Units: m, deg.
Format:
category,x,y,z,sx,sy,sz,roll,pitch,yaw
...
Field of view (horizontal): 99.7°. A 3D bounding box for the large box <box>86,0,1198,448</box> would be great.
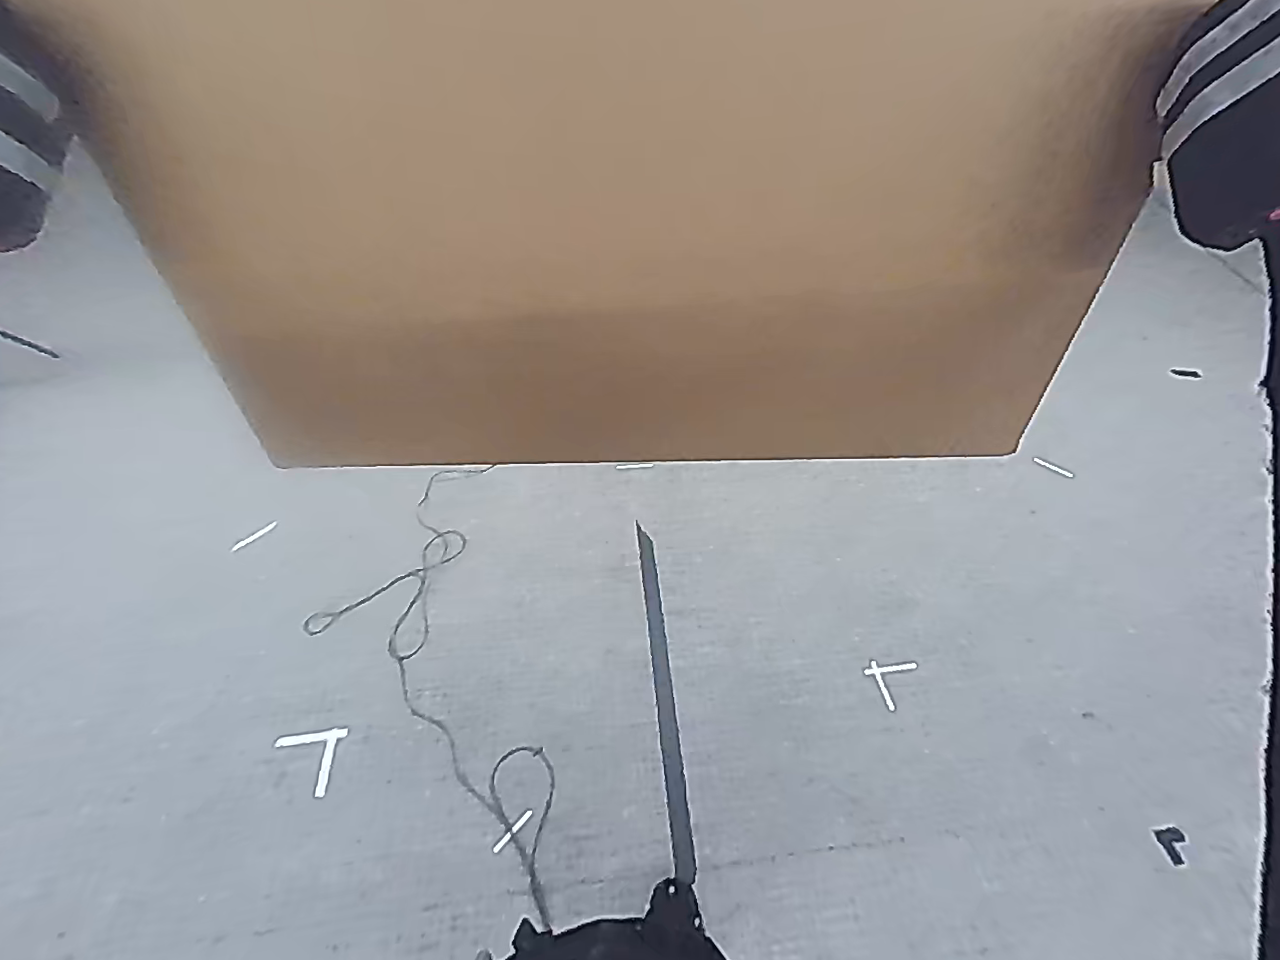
category,x,y,z,sx,sy,sz,roll,pitch,yaw
large box,0.001,-0.231,0.329,0.408,0.320,0.320,-1,40,0
